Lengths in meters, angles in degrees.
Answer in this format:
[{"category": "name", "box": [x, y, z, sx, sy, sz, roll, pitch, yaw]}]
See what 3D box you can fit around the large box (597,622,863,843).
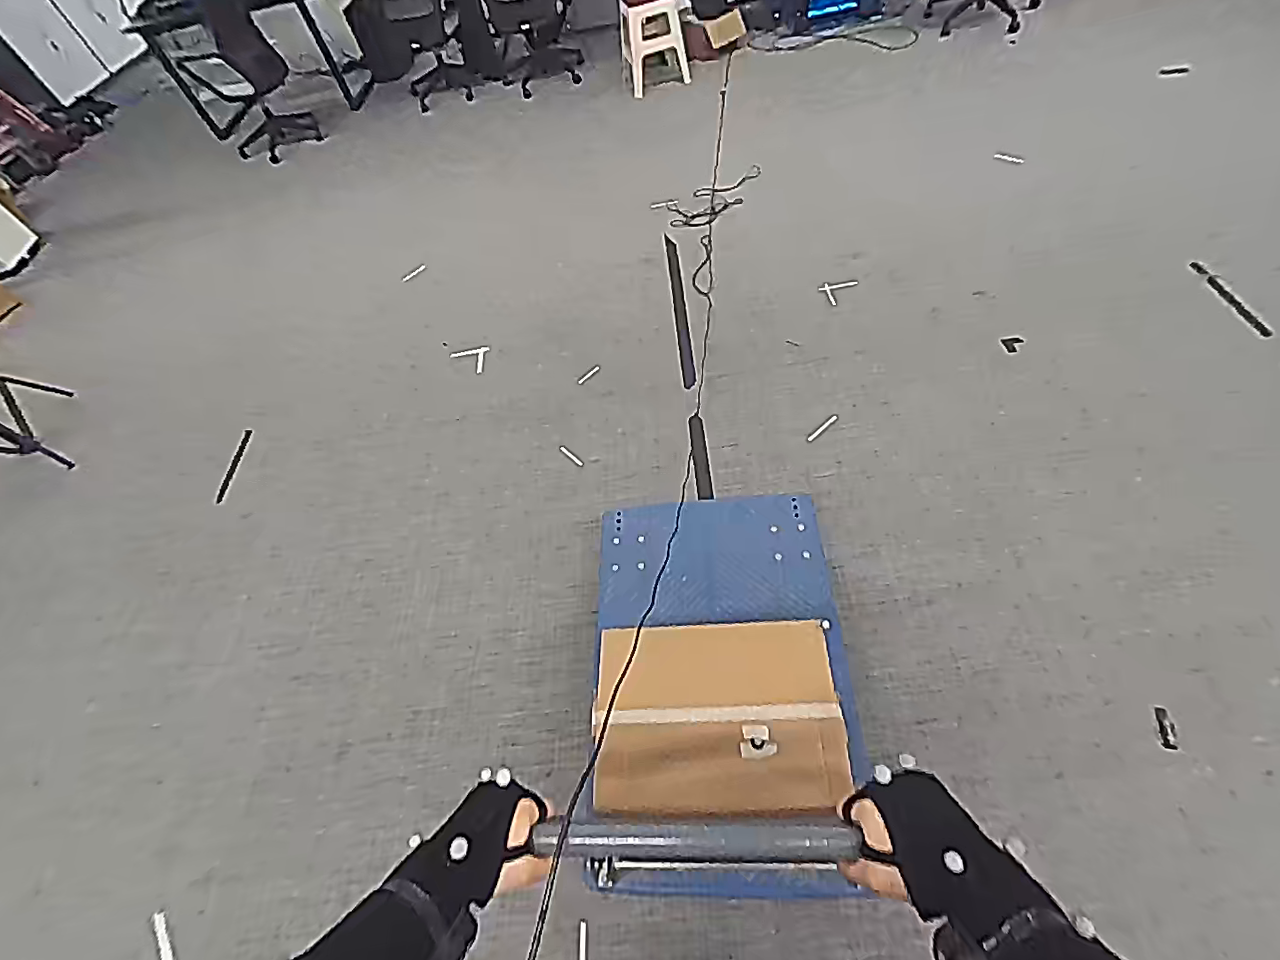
[{"category": "large box", "box": [0.148, 0.479, 1.006, 0.408, 0.320, 0.320, -5, 54, 7]}]
